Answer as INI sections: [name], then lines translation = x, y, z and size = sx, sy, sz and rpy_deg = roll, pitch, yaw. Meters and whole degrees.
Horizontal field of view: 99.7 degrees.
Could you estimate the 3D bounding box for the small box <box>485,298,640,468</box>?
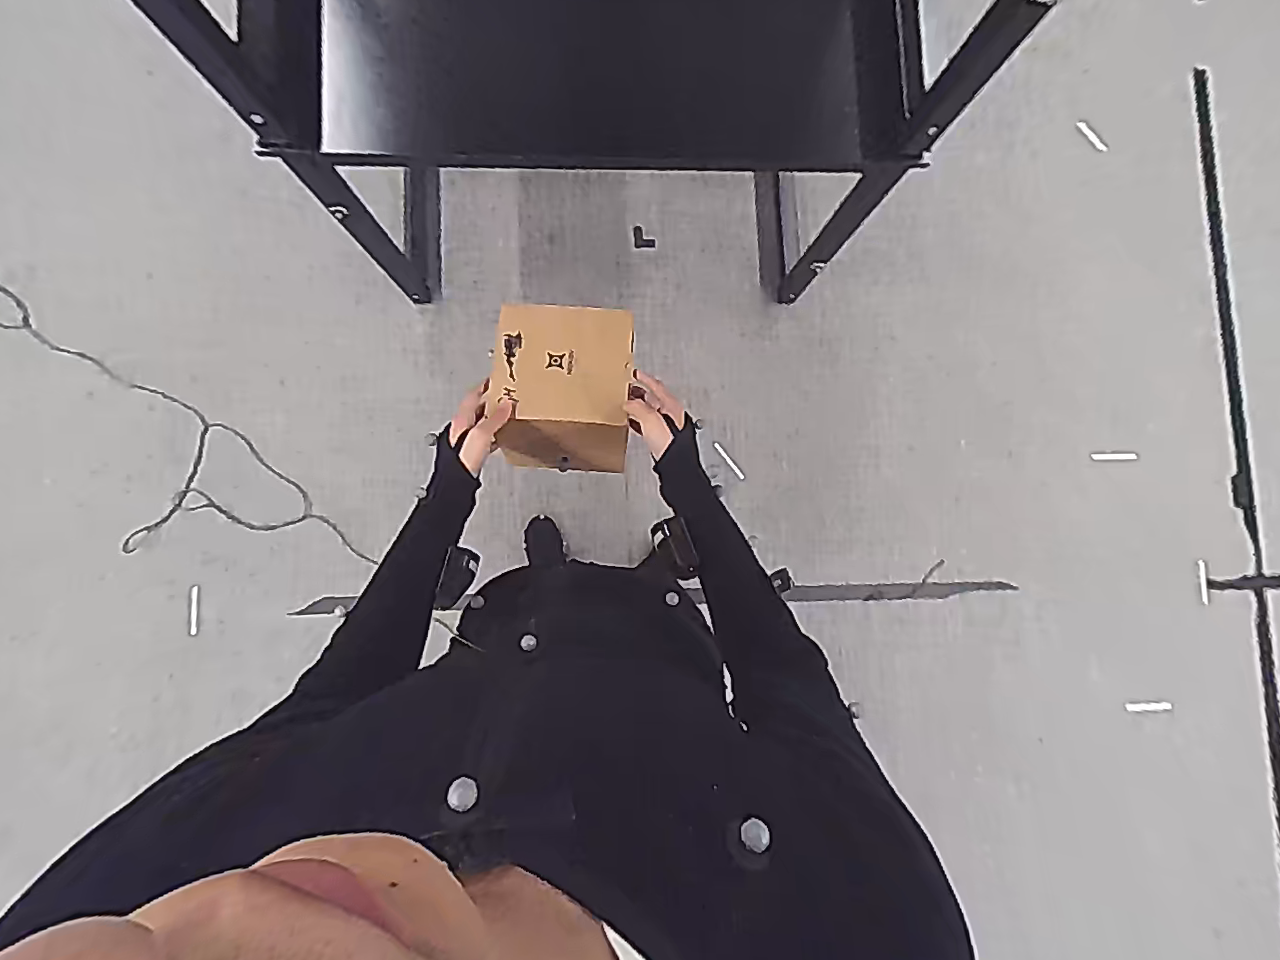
[small box]
translation = -0.098, -0.123, 0.749
size = 0.179, 0.176, 0.168
rpy_deg = 5, 70, -2
